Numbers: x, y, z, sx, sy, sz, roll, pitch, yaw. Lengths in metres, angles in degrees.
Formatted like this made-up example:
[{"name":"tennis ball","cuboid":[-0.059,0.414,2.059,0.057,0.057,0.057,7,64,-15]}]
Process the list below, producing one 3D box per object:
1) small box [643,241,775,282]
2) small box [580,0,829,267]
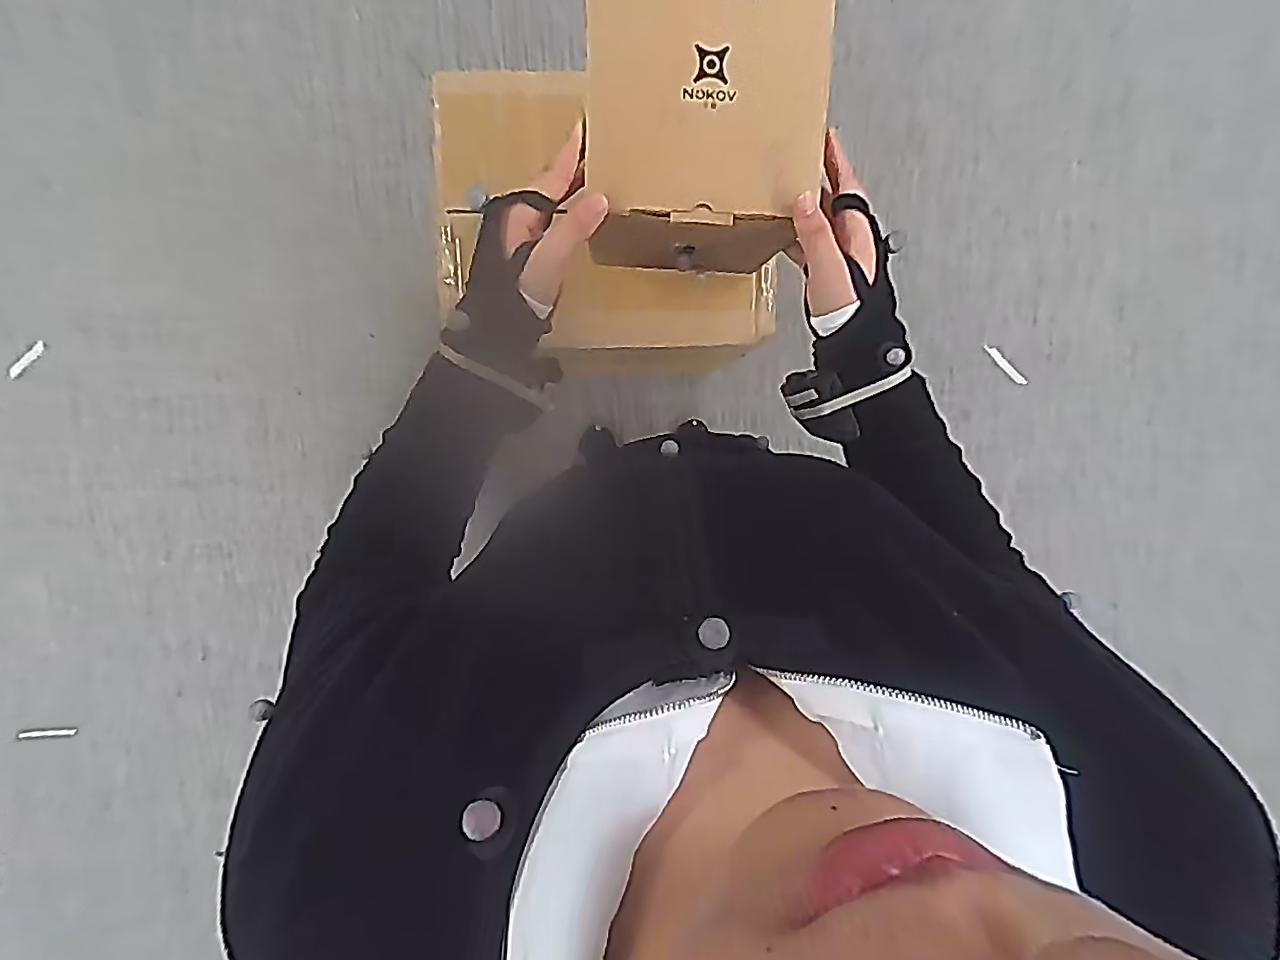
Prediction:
[{"name":"small box","cuboid":[0.086,-0.388,0.753,0.168,0.176,0.179,-2,97,-1]},{"name":"small box","cuboid":[0.040,-0.283,0.446,0.168,0.176,0.179,1,100,-3]}]
